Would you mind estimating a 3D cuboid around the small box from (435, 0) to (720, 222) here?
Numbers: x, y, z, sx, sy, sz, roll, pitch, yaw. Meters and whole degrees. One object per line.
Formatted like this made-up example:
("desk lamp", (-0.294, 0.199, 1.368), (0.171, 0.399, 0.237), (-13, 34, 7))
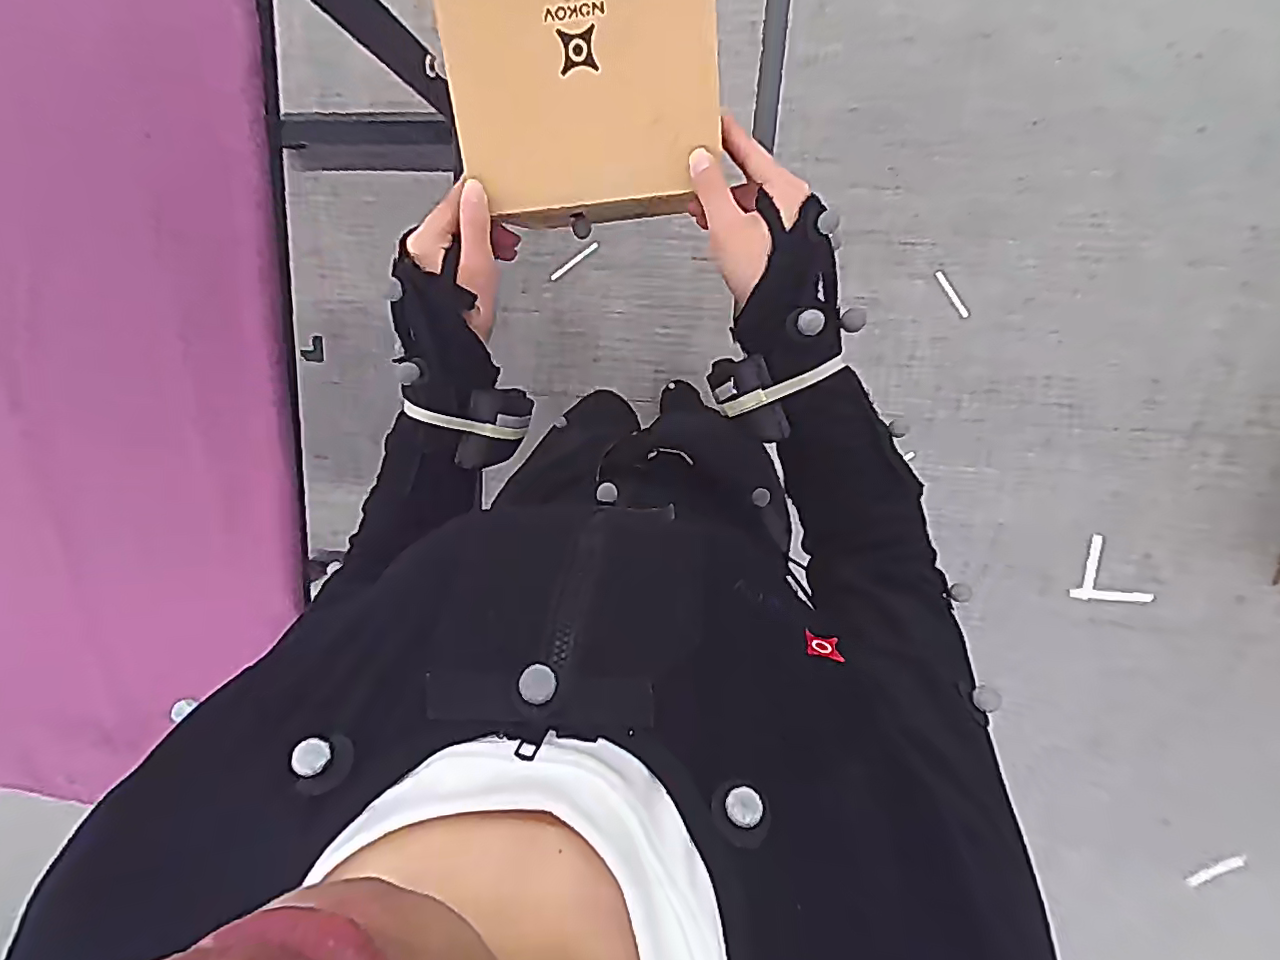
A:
("small box", (-0.030, -0.290, 0.389), (0.168, 0.176, 0.179), (-4, 110, 5))
